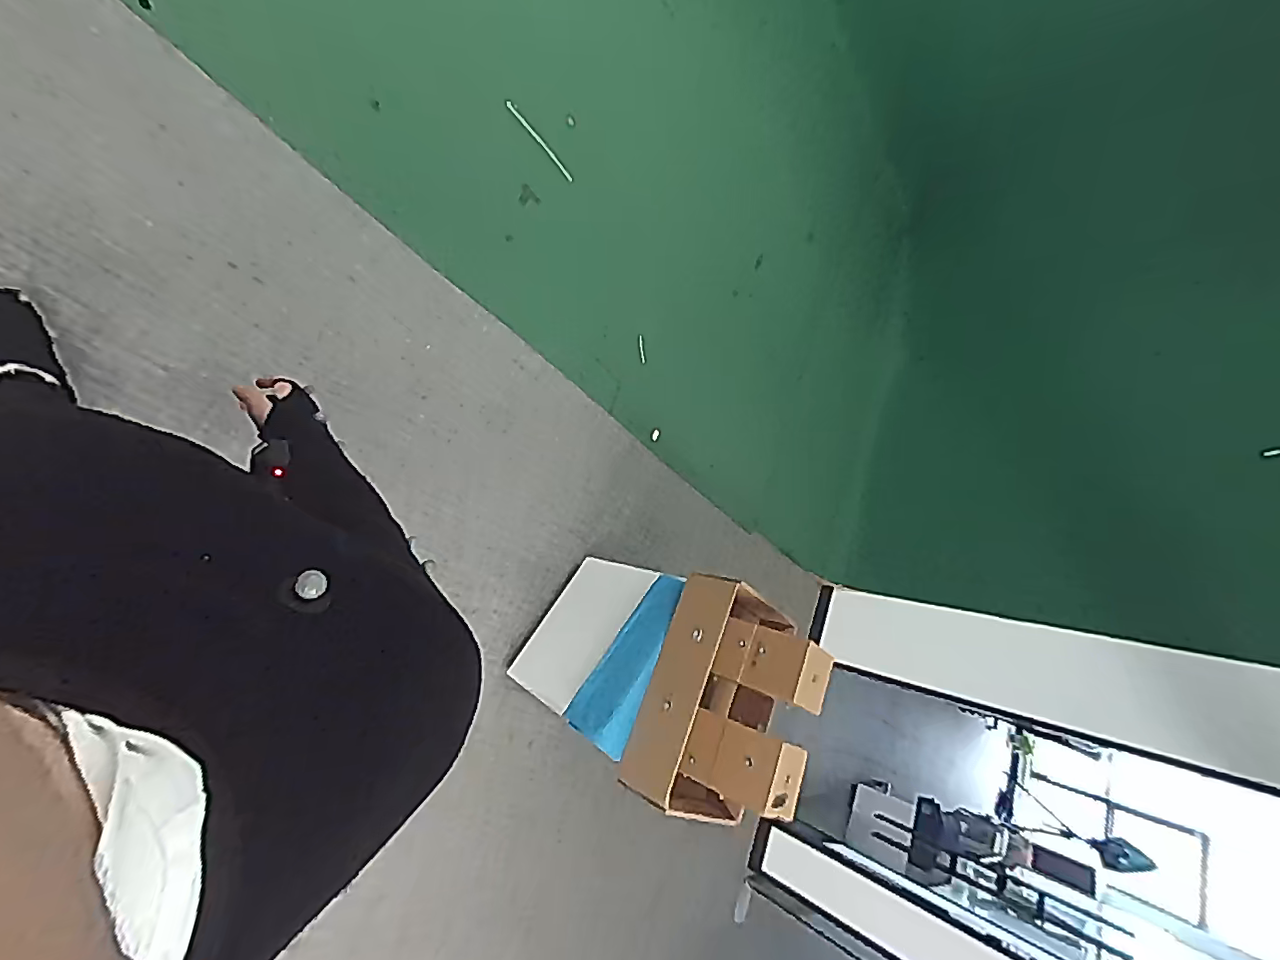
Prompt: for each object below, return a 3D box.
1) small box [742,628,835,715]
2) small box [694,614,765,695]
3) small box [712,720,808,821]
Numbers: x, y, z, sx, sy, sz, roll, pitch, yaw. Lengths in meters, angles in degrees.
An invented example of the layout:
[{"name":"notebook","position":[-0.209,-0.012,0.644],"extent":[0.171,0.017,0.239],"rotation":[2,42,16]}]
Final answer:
[{"name":"small box","position":[0.411,0.528,1.504],"extent":[0.179,0.176,0.168],"rotation":[39,66,-40]},{"name":"small box","position":[0.291,0.516,1.613],"extent":[0.179,0.176,0.168],"rotation":[40,66,-41]},{"name":"small box","position":[0.311,0.757,1.416],"extent":[0.168,0.176,0.179],"rotation":[39,65,-41]}]
